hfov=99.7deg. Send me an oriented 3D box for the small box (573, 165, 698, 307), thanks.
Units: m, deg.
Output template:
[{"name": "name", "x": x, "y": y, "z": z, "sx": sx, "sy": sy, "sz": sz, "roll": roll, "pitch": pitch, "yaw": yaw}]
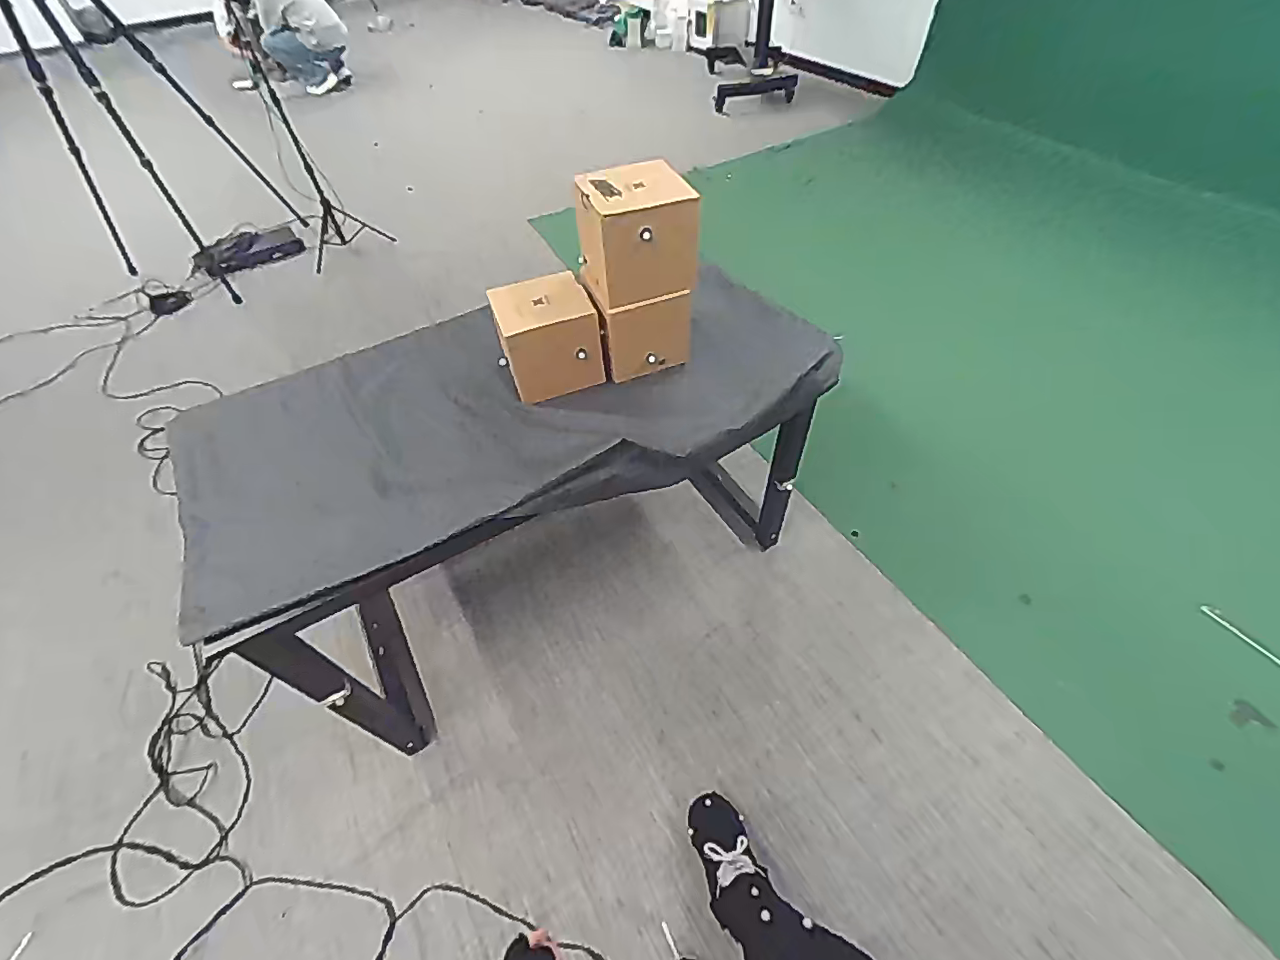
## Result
[{"name": "small box", "x": -0.006, "y": -0.439, "z": 0.984, "sx": 0.179, "sy": 0.176, "sz": 0.168, "roll": -18, "pitch": 53, "yaw": -11}]
